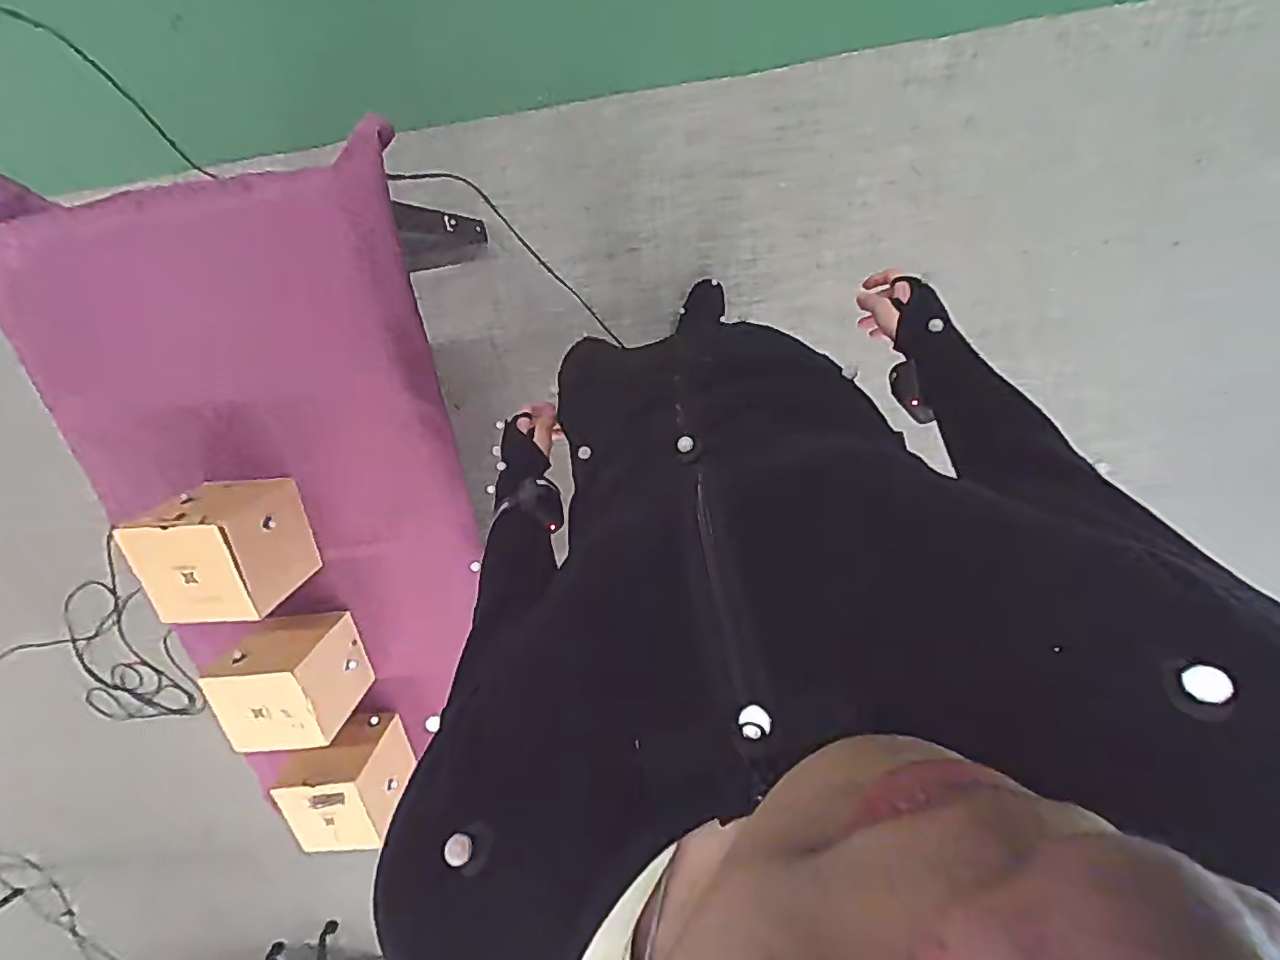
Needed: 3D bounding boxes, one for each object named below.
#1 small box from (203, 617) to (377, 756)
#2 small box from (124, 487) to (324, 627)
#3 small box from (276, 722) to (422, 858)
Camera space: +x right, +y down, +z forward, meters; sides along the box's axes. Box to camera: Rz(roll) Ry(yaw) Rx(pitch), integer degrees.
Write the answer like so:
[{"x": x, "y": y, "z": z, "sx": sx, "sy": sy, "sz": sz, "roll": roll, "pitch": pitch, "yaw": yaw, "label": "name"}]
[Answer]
[{"x": -0.617, "y": 0.367, "z": 0.977, "sx": 0.179, "sy": 0.176, "sz": 0.168, "roll": -6, "pitch": 111, "yaw": 5, "label": "small box"}, {"x": -0.659, "y": 0.117, "z": 0.883, "sx": 0.168, "sy": 0.176, "sz": 0.179, "roll": -3, "pitch": 112, "yaw": 4, "label": "small box"}, {"x": -0.559, "y": 0.600, "z": 1.064, "sx": 0.168, "sy": 0.176, "sz": 0.179, "roll": -7, "pitch": 112, "yaw": 6, "label": "small box"}]
